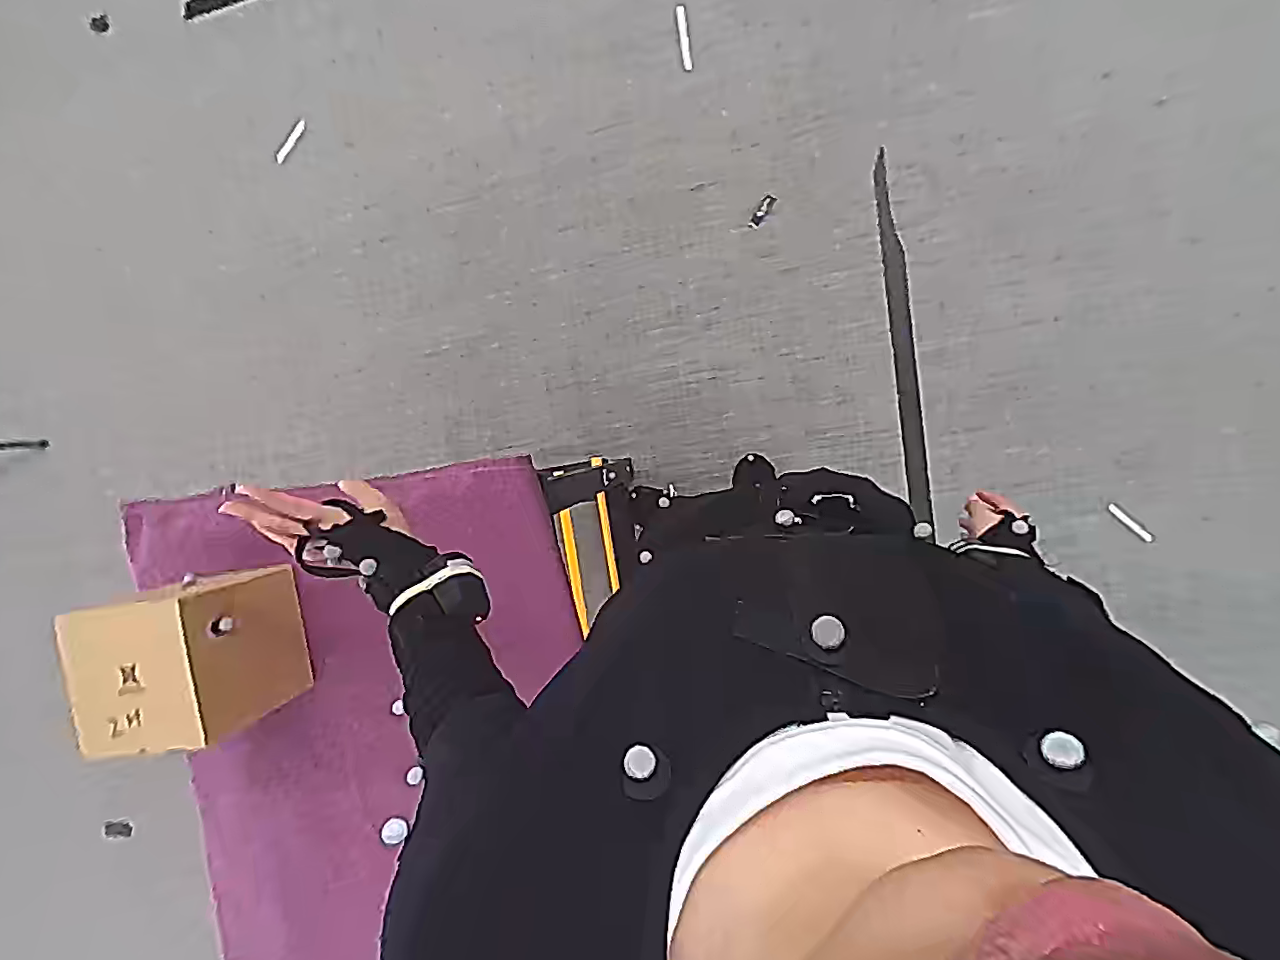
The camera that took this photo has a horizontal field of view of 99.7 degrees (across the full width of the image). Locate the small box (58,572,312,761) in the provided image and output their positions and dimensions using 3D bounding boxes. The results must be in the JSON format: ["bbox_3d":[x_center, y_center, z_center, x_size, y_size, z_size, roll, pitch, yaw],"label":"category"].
[{"bbox_3d":[-0.558,0.221,0.686,0.168,0.176,0.179,-9,93,8],"label":"small box"}]
